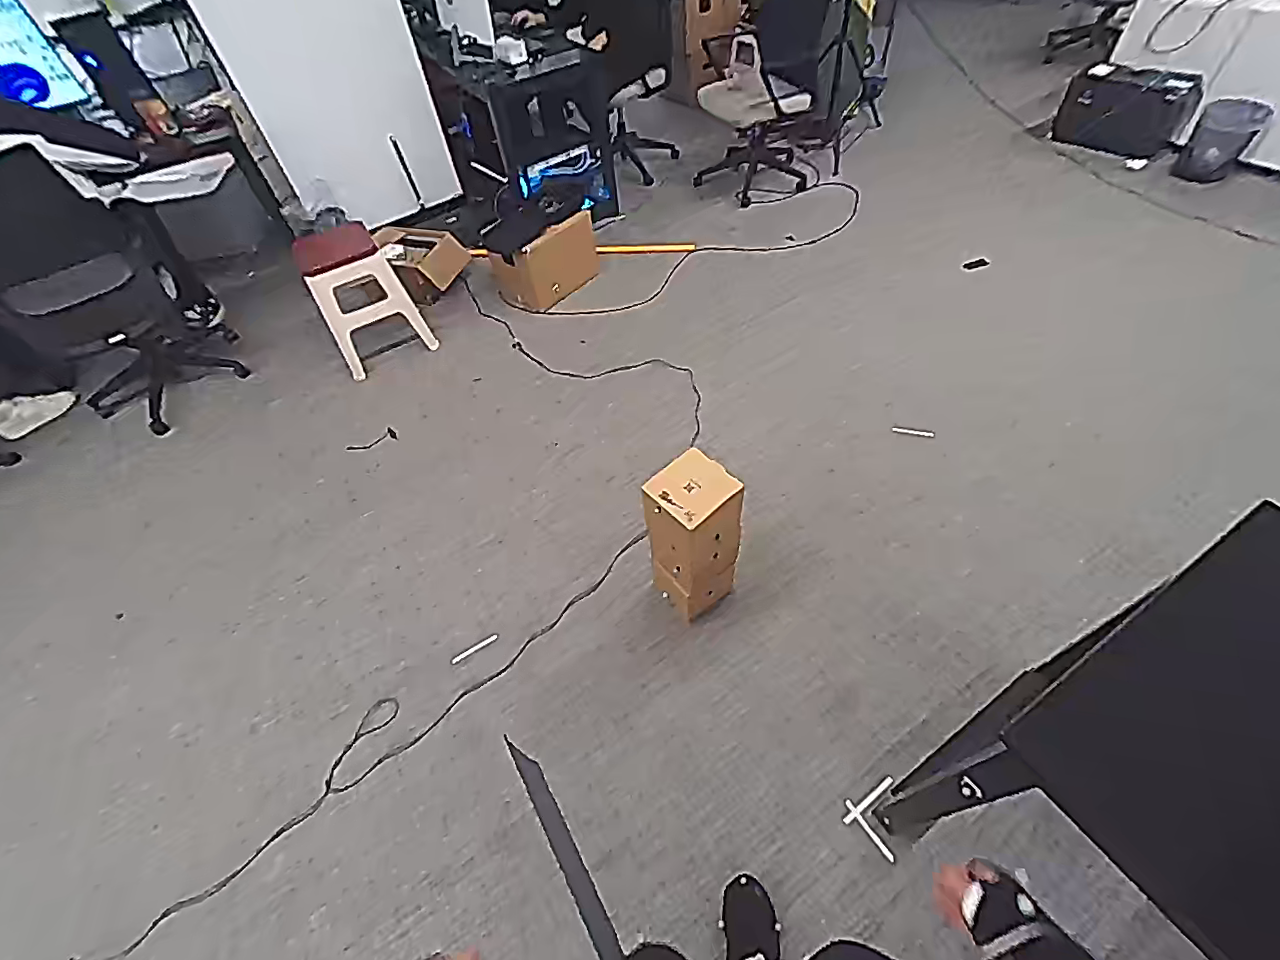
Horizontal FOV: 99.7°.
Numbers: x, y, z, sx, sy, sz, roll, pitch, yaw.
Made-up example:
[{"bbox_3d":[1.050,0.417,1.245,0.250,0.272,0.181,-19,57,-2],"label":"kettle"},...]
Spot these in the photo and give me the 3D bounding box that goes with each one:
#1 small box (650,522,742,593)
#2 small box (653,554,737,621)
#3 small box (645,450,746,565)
[{"bbox_3d":[0.146,0.165,1.423,0.179,0.176,0.168,-34,57,-21],"label":"small box"},{"bbox_3d":[0.156,0.268,1.548,0.179,0.176,0.168,-33,56,-17],"label":"small box"},{"bbox_3d":[0.129,0.067,1.291,0.179,0.176,0.168,-36,57,-21],"label":"small box"}]
